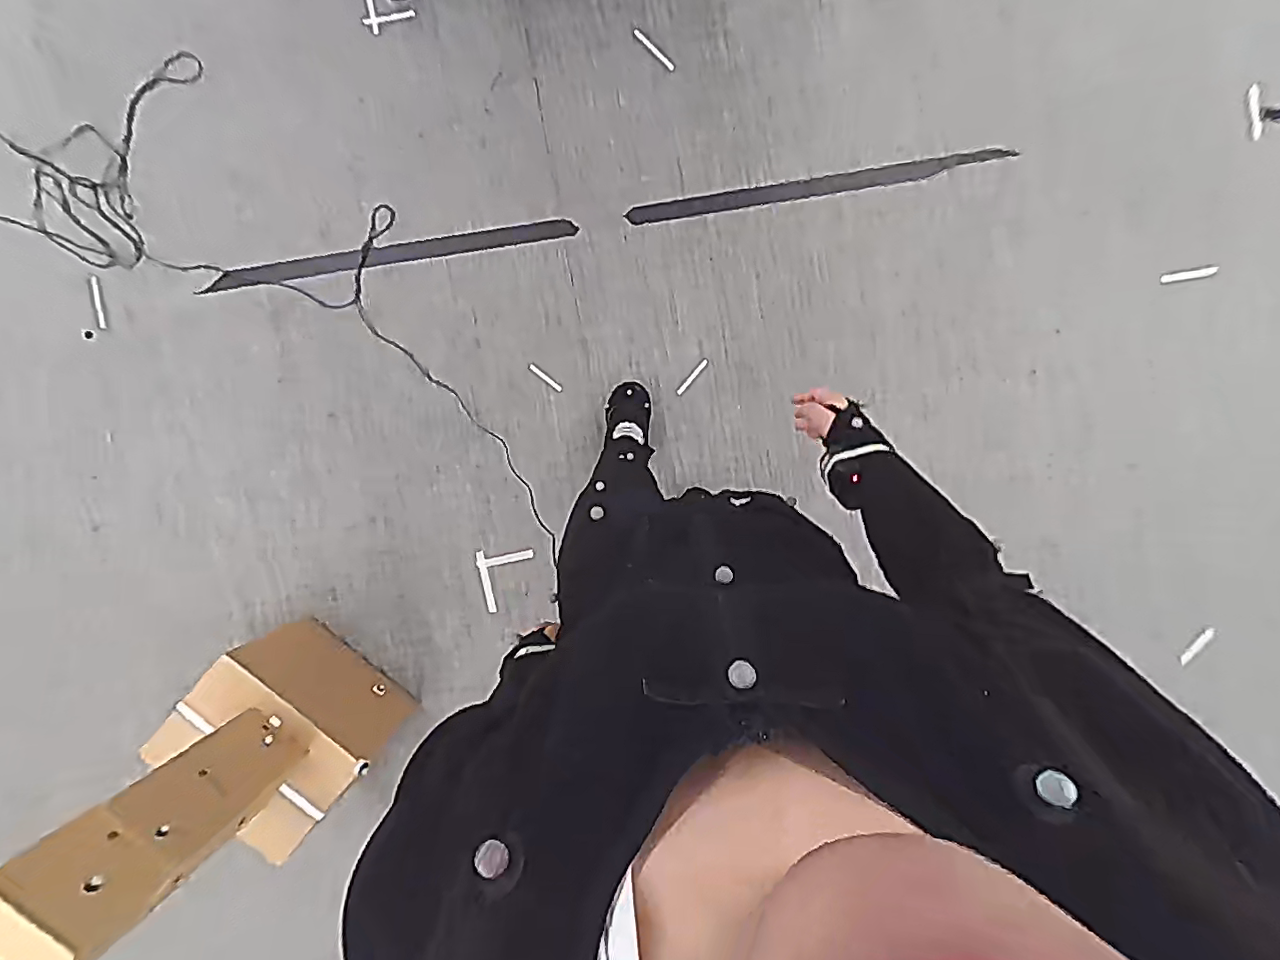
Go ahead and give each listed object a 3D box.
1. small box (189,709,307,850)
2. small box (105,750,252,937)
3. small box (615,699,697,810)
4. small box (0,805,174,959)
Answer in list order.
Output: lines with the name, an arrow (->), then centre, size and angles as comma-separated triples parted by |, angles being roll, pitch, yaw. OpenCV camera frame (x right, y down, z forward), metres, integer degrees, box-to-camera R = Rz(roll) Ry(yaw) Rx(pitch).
small box -> -0.846, 0.621, 1.123 | 0.168, 0.176, 0.179 | 39, 92, -1
small box -> -0.849, 0.631, 0.959 | 0.168, 0.176, 0.179 | 39, 93, -1
small box -> 0.040, 0.712, 1.418 | 0.168, 0.176, 0.179 | -20, 92, -1
small box -> -0.852, 0.634, 0.796 | 0.168, 0.176, 0.179 | 39, 93, -1
